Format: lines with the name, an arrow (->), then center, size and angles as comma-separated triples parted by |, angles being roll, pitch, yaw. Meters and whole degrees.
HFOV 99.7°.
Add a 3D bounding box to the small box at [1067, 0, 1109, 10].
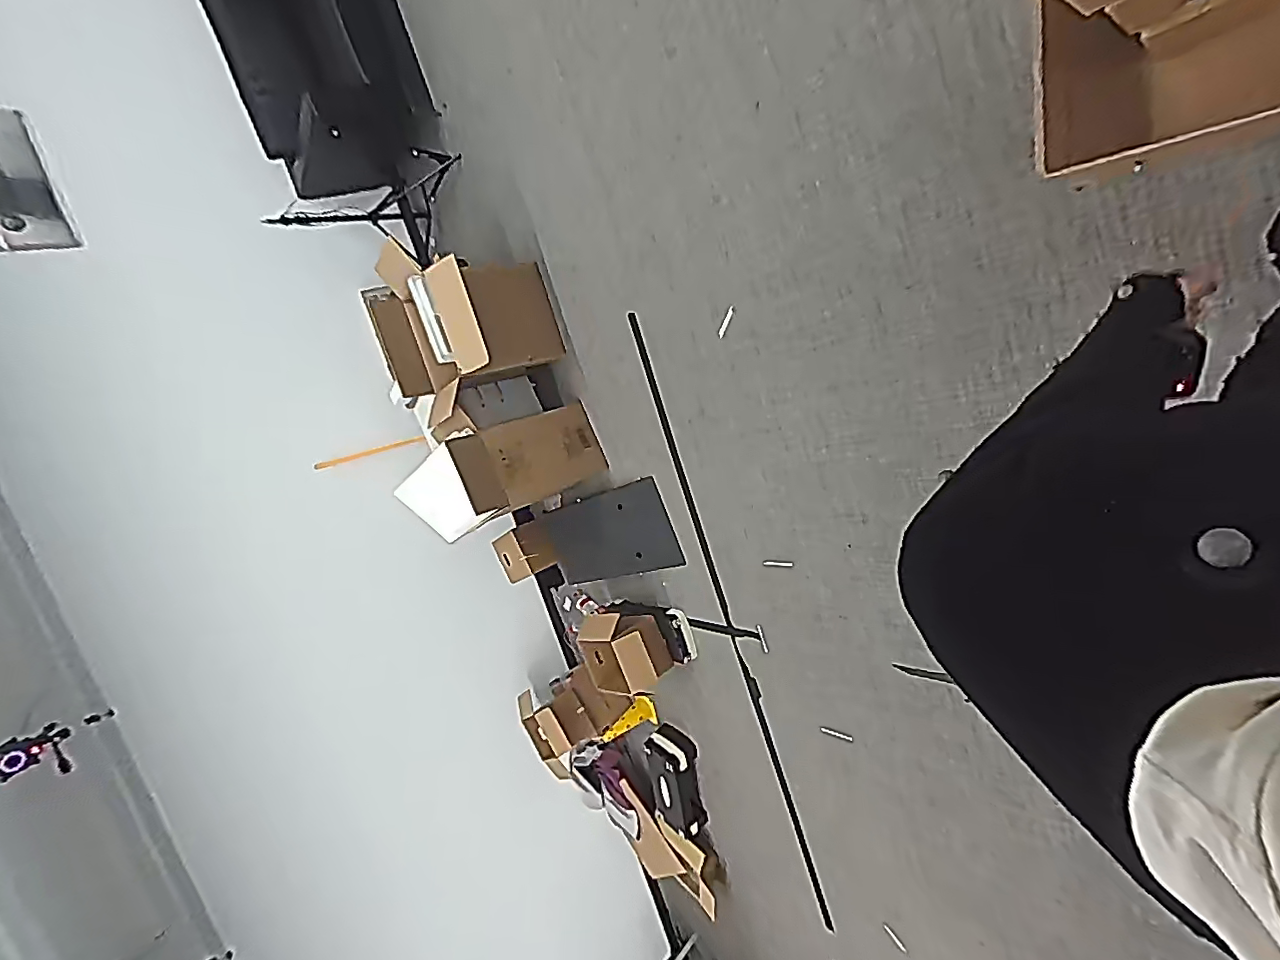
small box -> 0.471, -0.582, 0.490 | 0.179, 0.176, 0.168 | -6, 103, 53
